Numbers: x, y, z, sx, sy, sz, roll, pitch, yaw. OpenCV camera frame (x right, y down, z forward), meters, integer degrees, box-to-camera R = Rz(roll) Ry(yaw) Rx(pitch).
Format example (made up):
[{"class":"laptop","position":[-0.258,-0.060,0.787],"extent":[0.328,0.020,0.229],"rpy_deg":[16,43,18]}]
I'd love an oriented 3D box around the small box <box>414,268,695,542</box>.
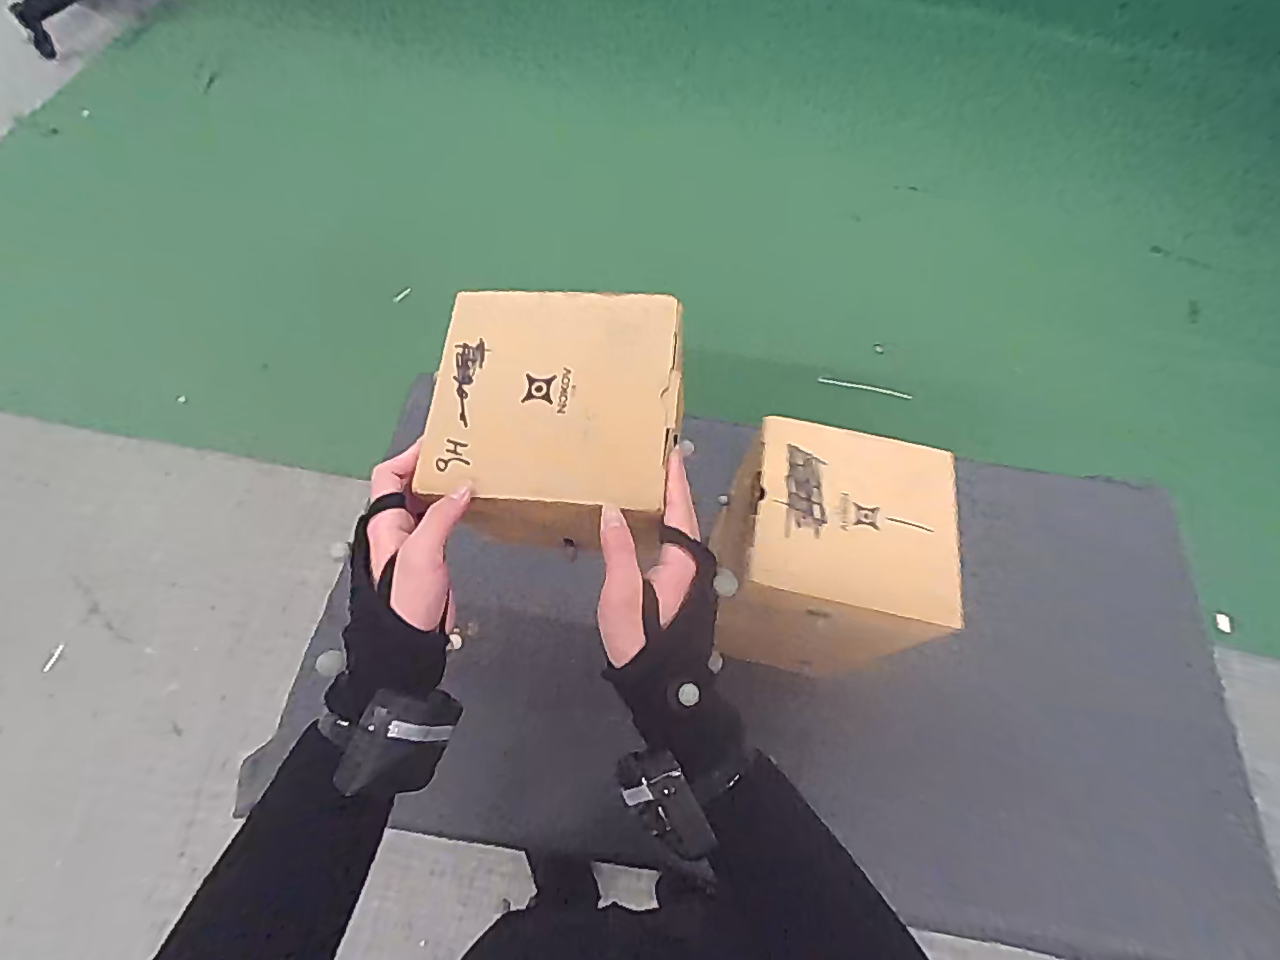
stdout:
[{"class":"small box","position":[-0.052,-0.049,0.451],"extent":[0.179,0.176,0.168],"rpy_deg":[5,72,5]}]

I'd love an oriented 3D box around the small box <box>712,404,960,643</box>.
[{"class":"small box","position":[0.178,0.053,0.533],"extent":[0.179,0.176,0.168],"rpy_deg":[13,65,1]}]

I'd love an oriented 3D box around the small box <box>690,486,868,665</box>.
[{"class":"small box","position":[0.170,0.127,0.680],"extent":[0.179,0.176,0.168],"rpy_deg":[12,64,4]}]
